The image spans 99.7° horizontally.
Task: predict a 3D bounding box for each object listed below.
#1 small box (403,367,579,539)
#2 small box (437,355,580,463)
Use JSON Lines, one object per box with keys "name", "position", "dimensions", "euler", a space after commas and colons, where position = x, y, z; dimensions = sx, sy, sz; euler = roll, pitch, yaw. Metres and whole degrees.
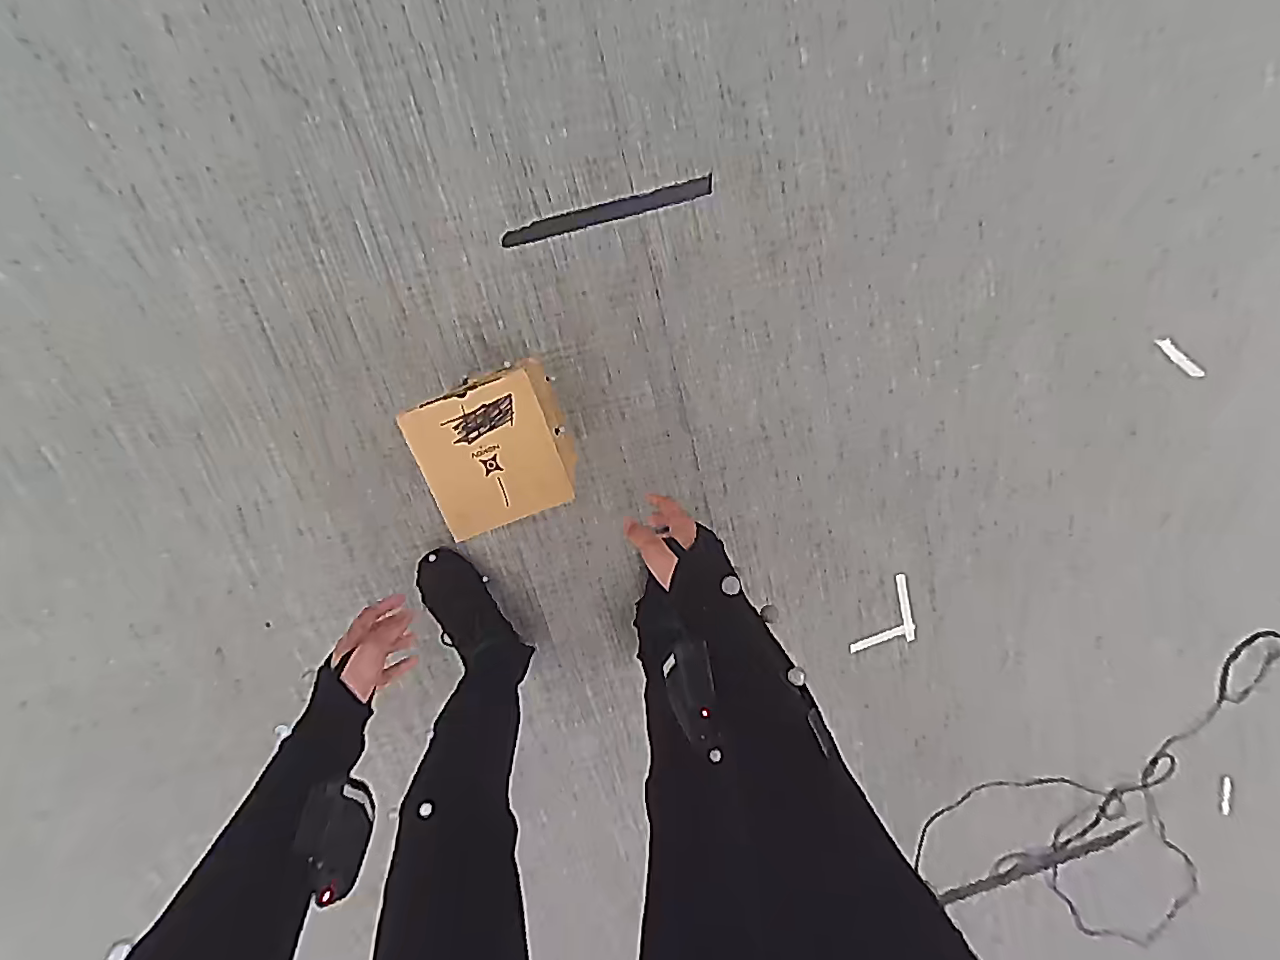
{"name": "small box", "position": [-0.191, -0.049, 0.741], "dimensions": [0.168, 0.176, 0.179], "euler": [-20, 108, -2]}
{"name": "small box", "position": [-0.210, -0.098, 0.897], "dimensions": [0.168, 0.176, 0.179], "euler": [-22, 107, -2]}
